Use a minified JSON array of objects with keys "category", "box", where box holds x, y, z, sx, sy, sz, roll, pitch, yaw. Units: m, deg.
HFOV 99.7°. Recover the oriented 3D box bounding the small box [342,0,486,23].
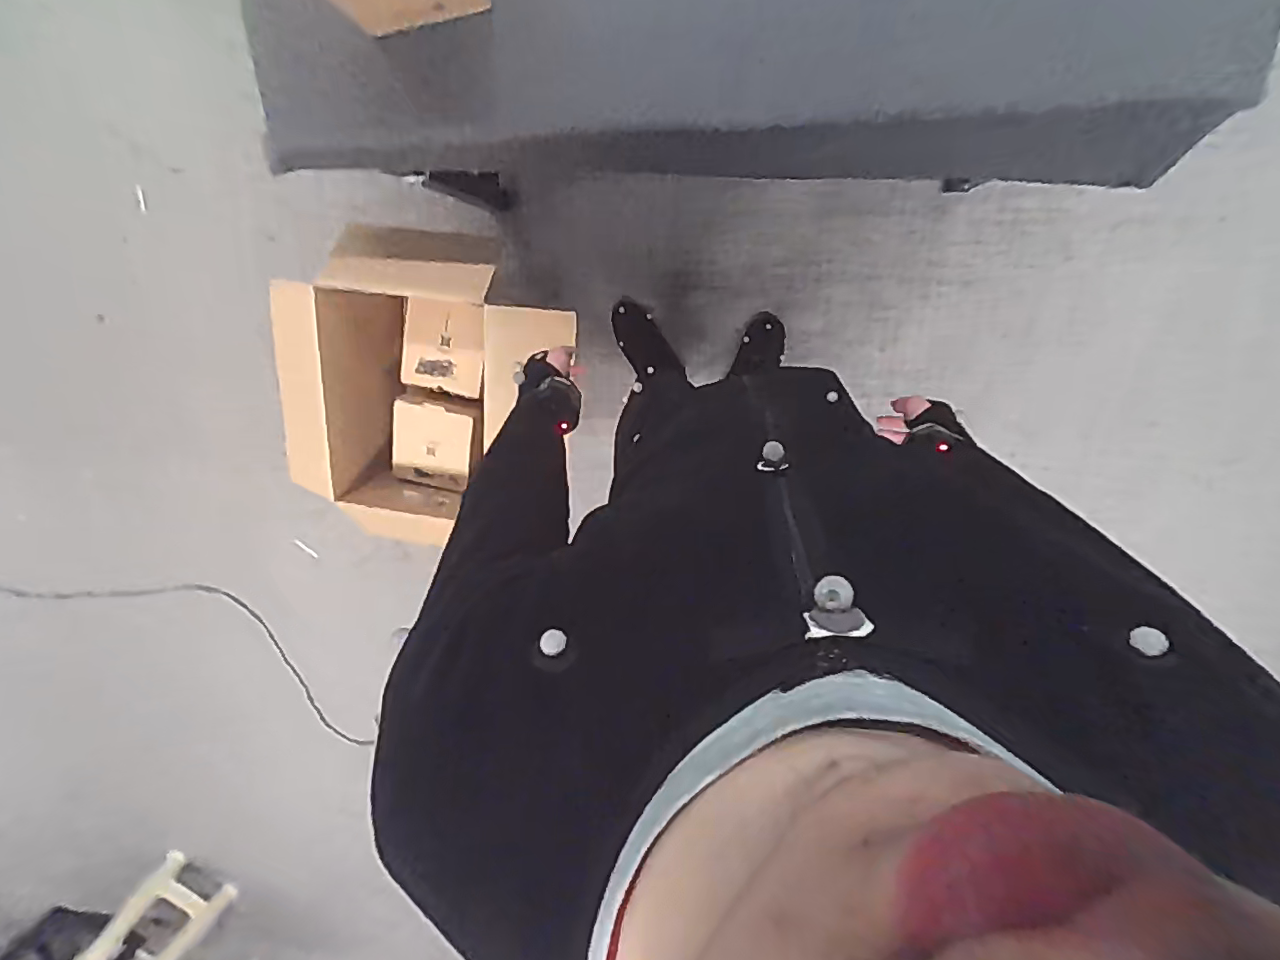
[{"category":"small box","box":[-0.279,-0.633,0.576,0.168,0.176,0.179,-6,105,8]}]
